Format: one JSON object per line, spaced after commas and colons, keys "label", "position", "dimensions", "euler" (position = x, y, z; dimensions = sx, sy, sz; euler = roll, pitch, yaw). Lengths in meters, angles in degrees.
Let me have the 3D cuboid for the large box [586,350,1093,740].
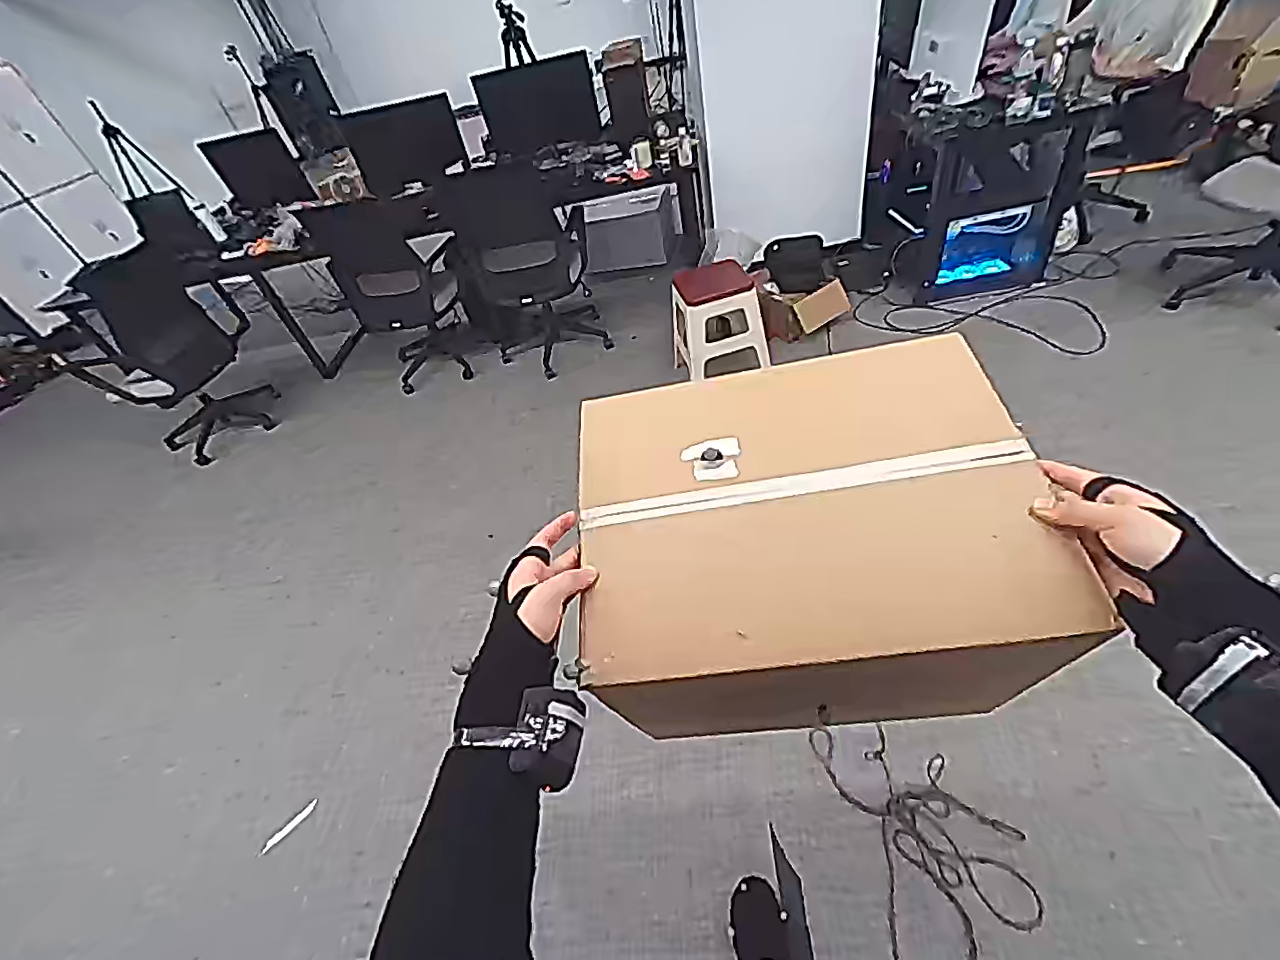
{"label": "large box", "position": [0.174, 0.101, 0.637], "dimensions": [0.408, 0.320, 0.320], "euler": [-10, 54, 9]}
